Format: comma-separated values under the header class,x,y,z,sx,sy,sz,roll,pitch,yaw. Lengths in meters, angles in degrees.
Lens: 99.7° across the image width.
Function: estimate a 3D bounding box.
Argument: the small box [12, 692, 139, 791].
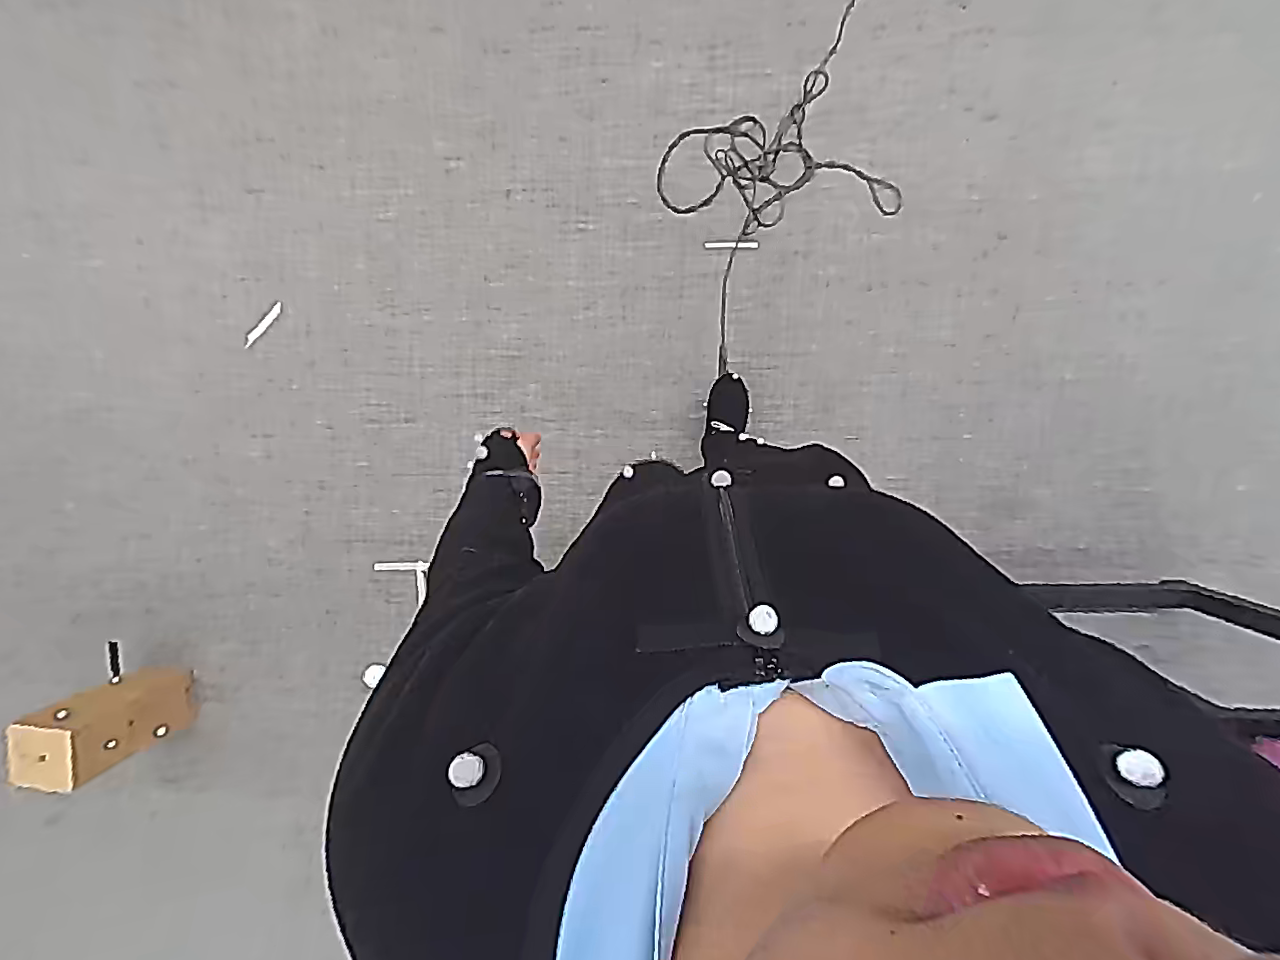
class,x,y,z,sx,sy,sz,roll,pitch,yaw
small box,-1.473,0.681,1.423,0.179,0.176,0.168,5,95,5
